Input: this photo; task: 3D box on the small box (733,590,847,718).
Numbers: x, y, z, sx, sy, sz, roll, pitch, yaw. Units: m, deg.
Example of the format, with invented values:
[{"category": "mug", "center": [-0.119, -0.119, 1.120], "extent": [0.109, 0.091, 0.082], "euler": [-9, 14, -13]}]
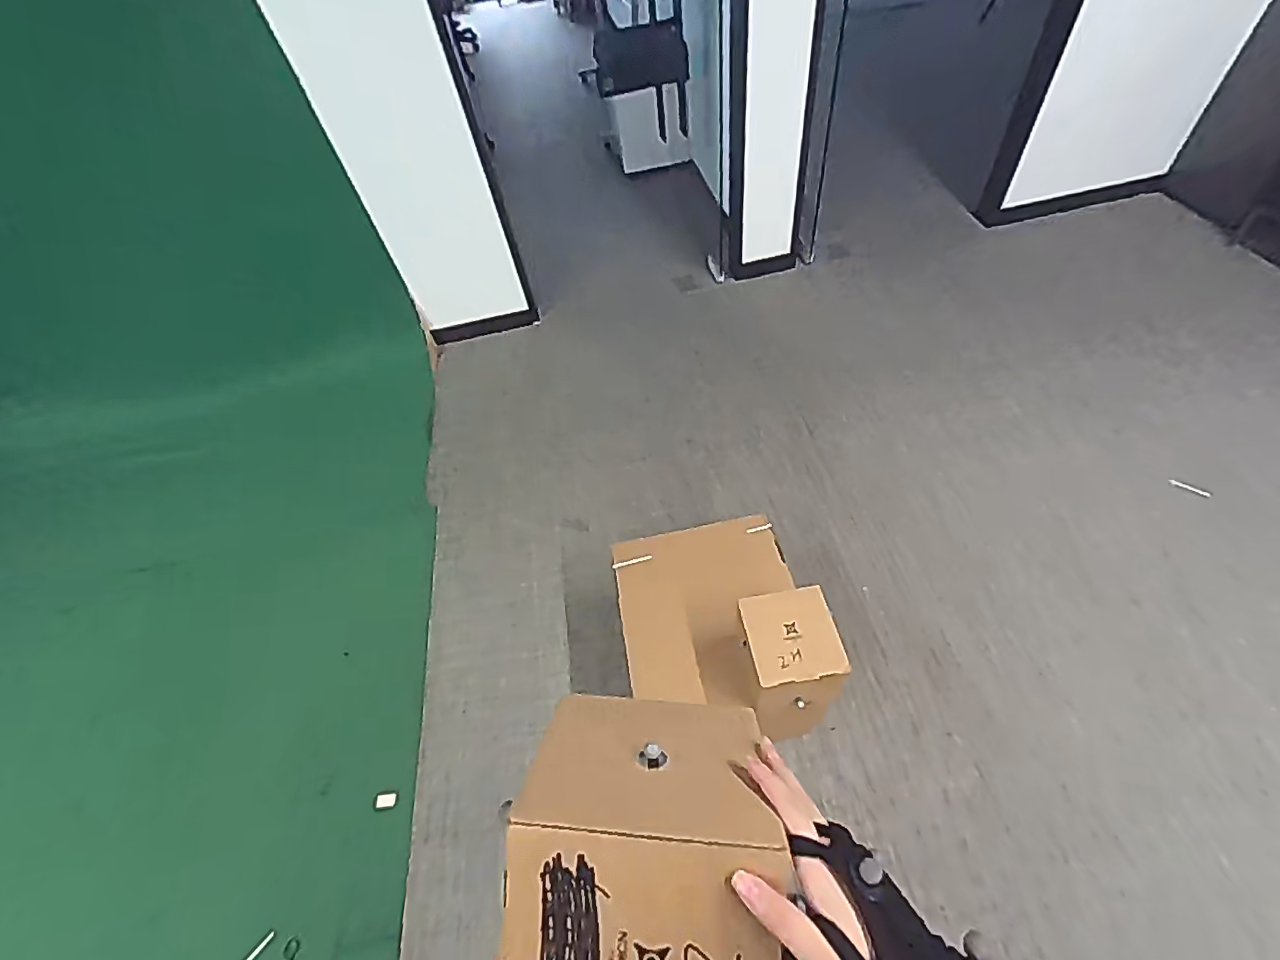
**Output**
[{"category": "small box", "center": [0.284, 0.345, 1.067], "extent": [0.168, 0.176, 0.179], "euler": [-10, 51, 0]}]
